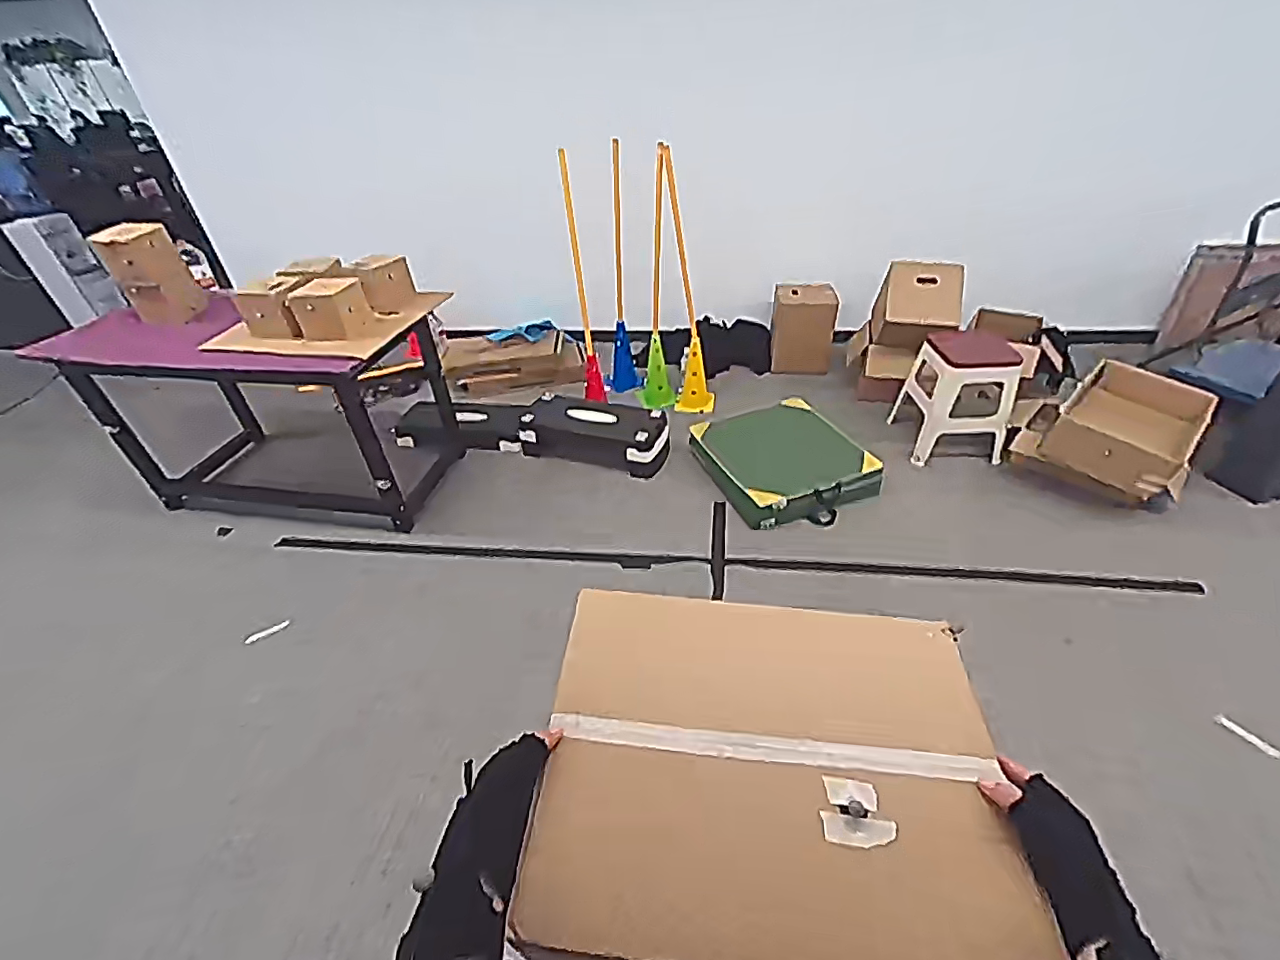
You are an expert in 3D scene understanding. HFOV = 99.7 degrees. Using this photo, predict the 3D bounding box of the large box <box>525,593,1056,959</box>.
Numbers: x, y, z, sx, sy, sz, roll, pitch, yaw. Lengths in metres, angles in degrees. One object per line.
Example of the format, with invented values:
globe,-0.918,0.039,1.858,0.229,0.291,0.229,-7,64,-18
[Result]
large box,0.119,0.357,0.607,0.408,0.320,0.320,5,43,4
